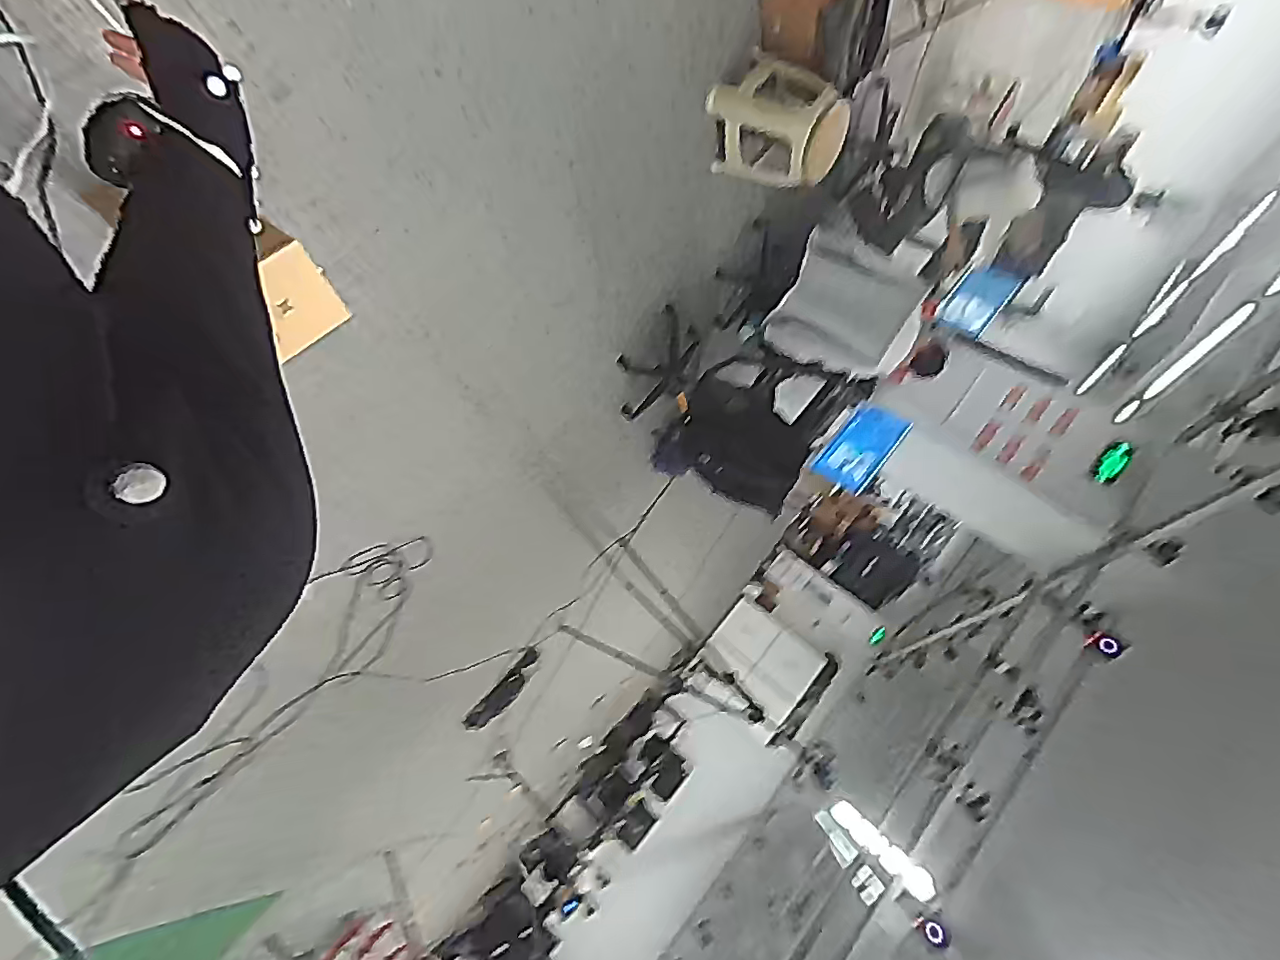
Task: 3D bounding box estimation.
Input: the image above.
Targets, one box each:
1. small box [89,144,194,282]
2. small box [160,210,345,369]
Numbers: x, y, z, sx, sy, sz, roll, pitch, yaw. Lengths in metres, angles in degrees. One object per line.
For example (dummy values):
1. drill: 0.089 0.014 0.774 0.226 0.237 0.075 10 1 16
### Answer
1. small box: -0.921 -0.518 1.067 0.179 0.176 0.168 -46 156 -13
2. small box: -0.675 -0.337 0.950 0.179 0.176 0.168 -44 155 -18
